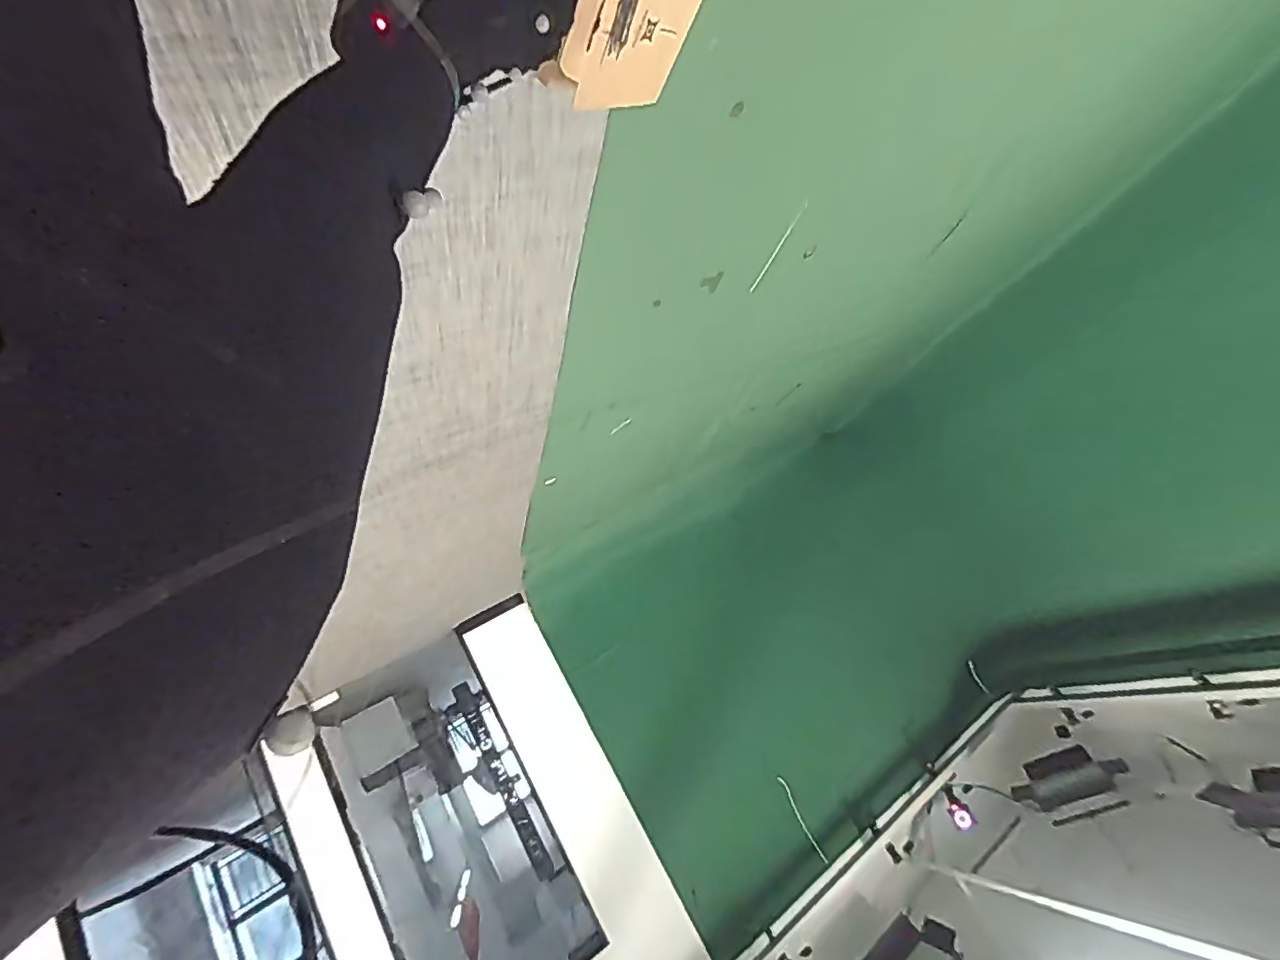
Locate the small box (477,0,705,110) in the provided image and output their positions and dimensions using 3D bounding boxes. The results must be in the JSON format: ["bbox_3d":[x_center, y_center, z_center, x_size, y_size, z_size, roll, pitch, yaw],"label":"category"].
[{"bbox_3d":[-0.051,-0.539,0.580,0.179,0.176,0.168,-28,167,-39],"label":"small box"}]
